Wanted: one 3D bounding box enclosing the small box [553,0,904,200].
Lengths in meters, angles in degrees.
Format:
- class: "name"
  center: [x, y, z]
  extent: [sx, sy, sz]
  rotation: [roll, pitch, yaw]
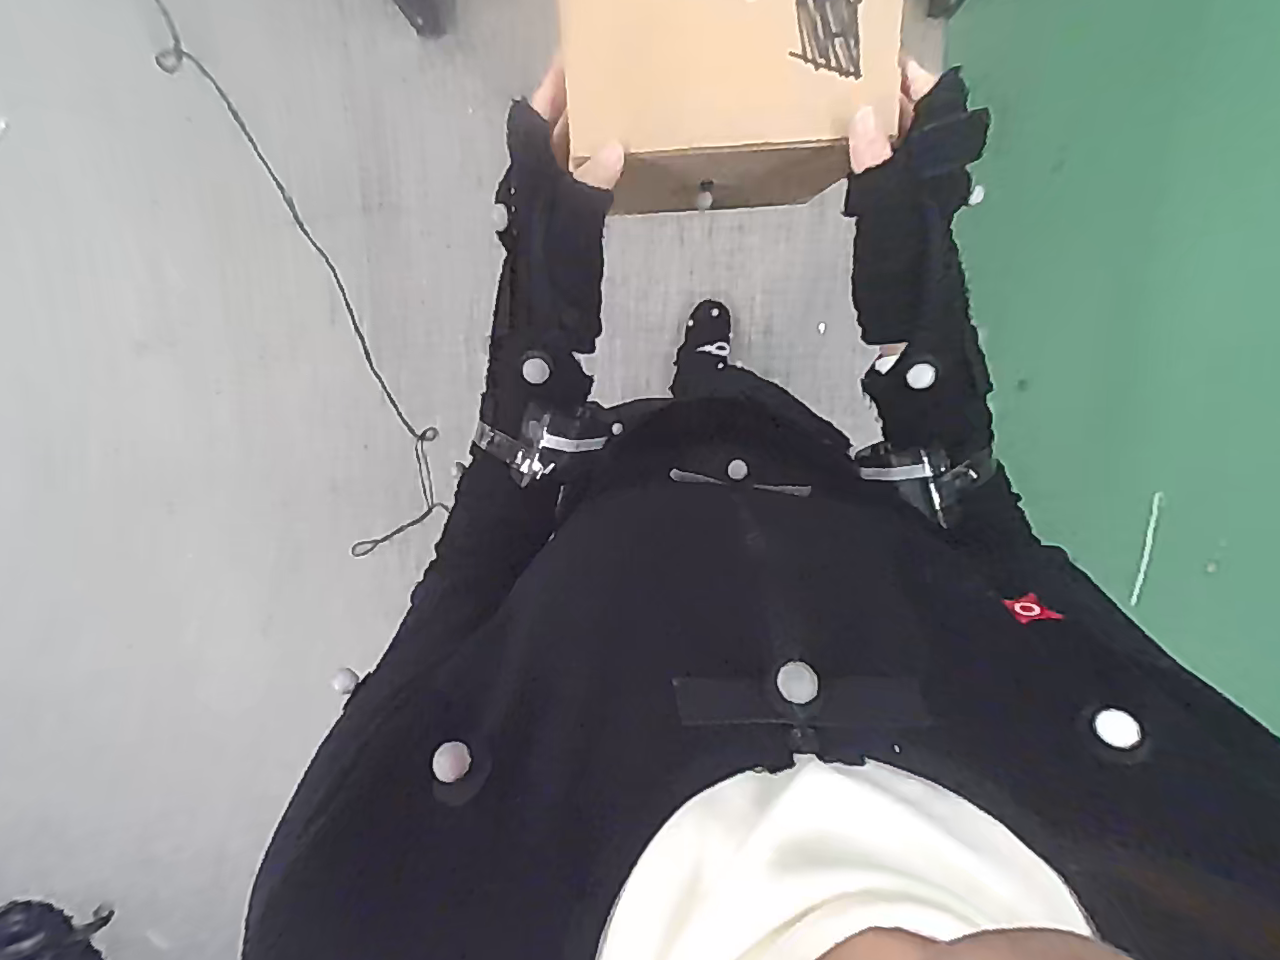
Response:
- class: "small box"
  center: [0.043, -0.284, 0.338]
  extent: [0.179, 0.176, 0.168]
  rotation: [-3, 107, 3]
